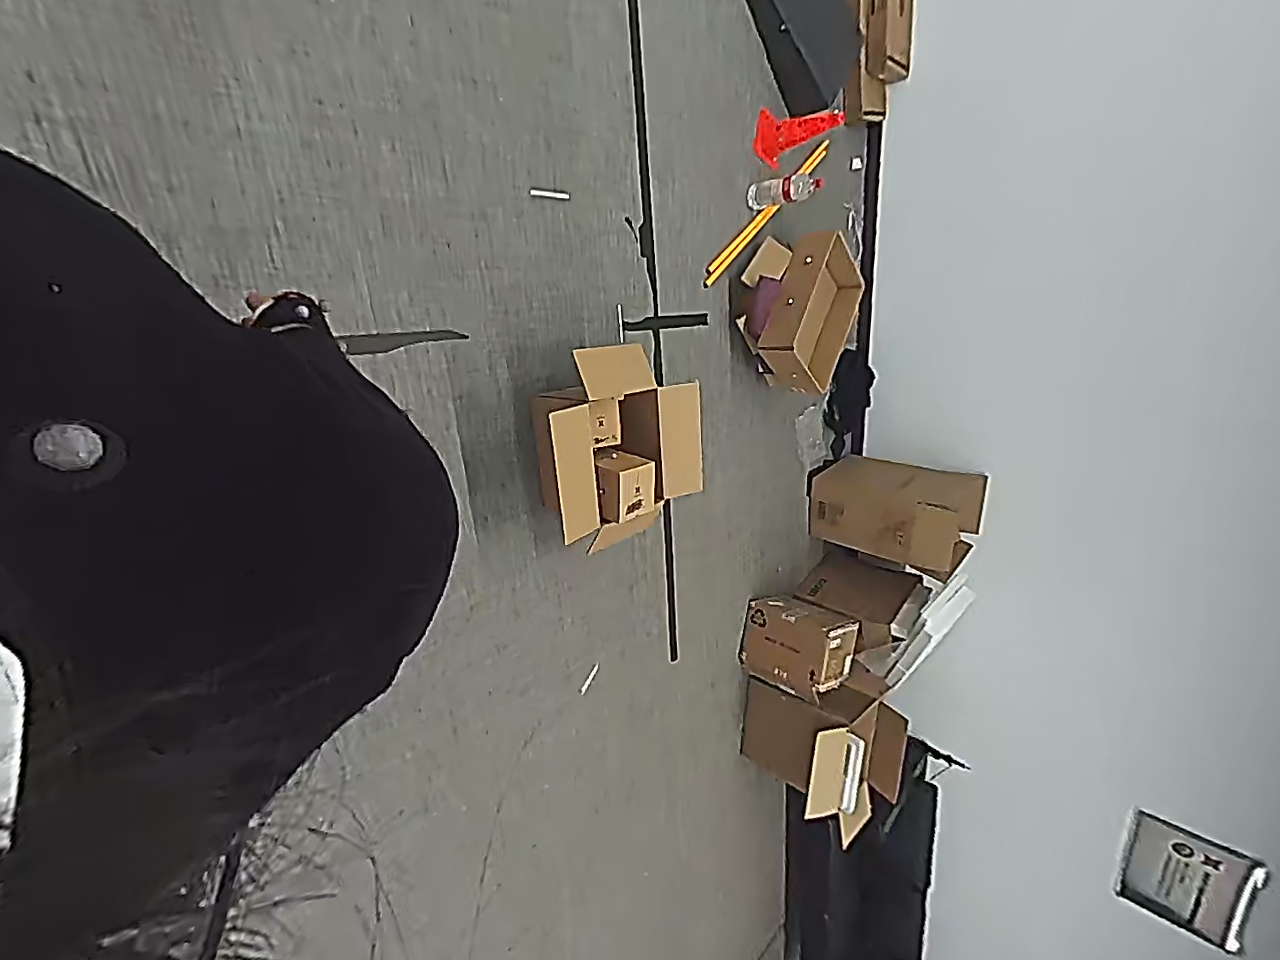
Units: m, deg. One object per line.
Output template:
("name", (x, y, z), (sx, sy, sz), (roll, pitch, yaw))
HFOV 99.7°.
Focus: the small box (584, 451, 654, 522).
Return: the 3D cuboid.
("small box", (-0.072, 0.017, 1.783), (0.168, 0.176, 0.179), (-18, 116, -44))
